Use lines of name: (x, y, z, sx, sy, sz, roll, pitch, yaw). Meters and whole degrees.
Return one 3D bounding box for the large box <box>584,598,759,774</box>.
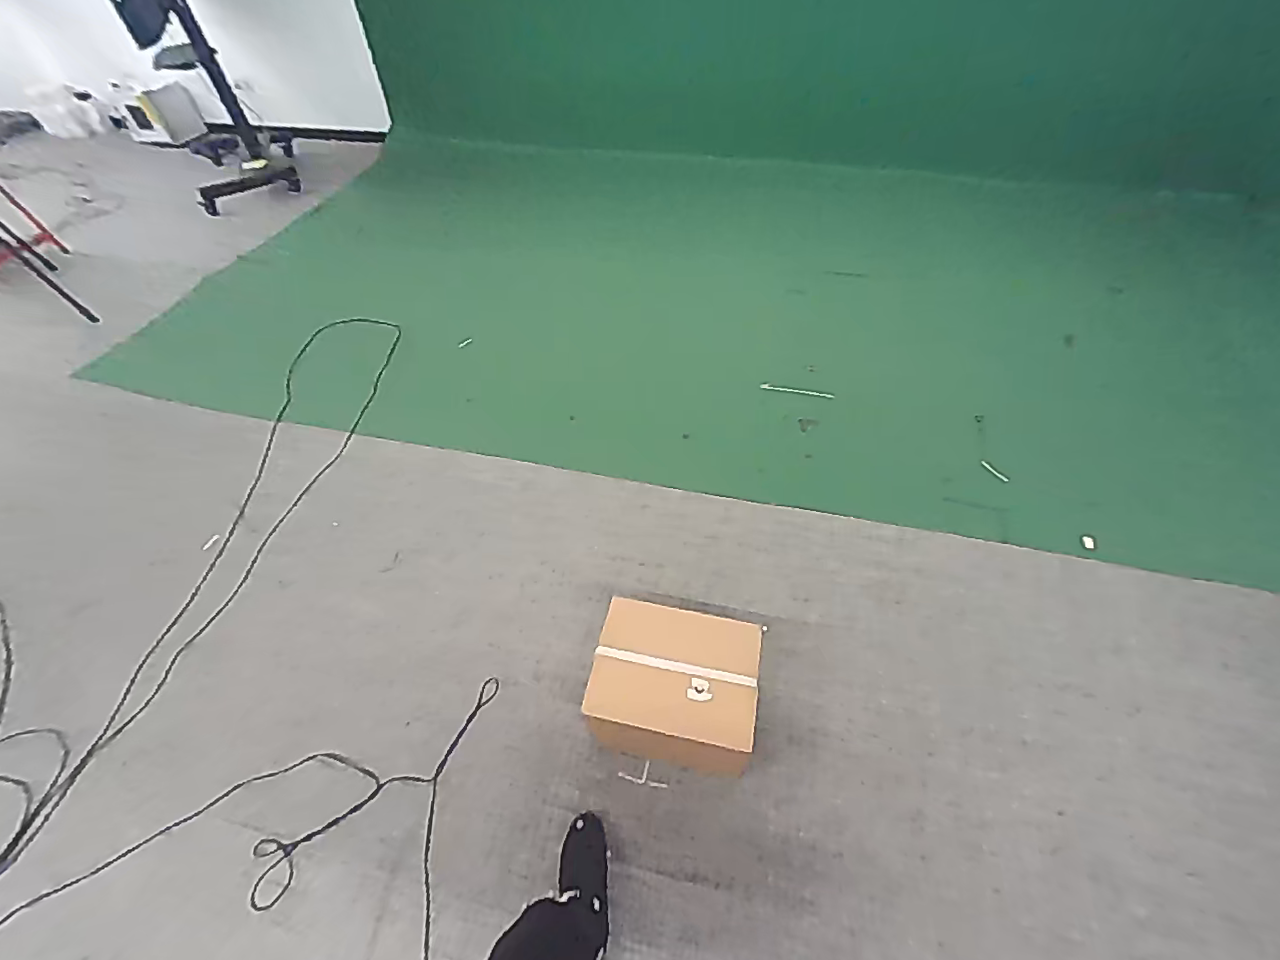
large box: (0.088, 0.555, 1.459, 0.408, 0.320, 0.320, 8, 51, 8)
